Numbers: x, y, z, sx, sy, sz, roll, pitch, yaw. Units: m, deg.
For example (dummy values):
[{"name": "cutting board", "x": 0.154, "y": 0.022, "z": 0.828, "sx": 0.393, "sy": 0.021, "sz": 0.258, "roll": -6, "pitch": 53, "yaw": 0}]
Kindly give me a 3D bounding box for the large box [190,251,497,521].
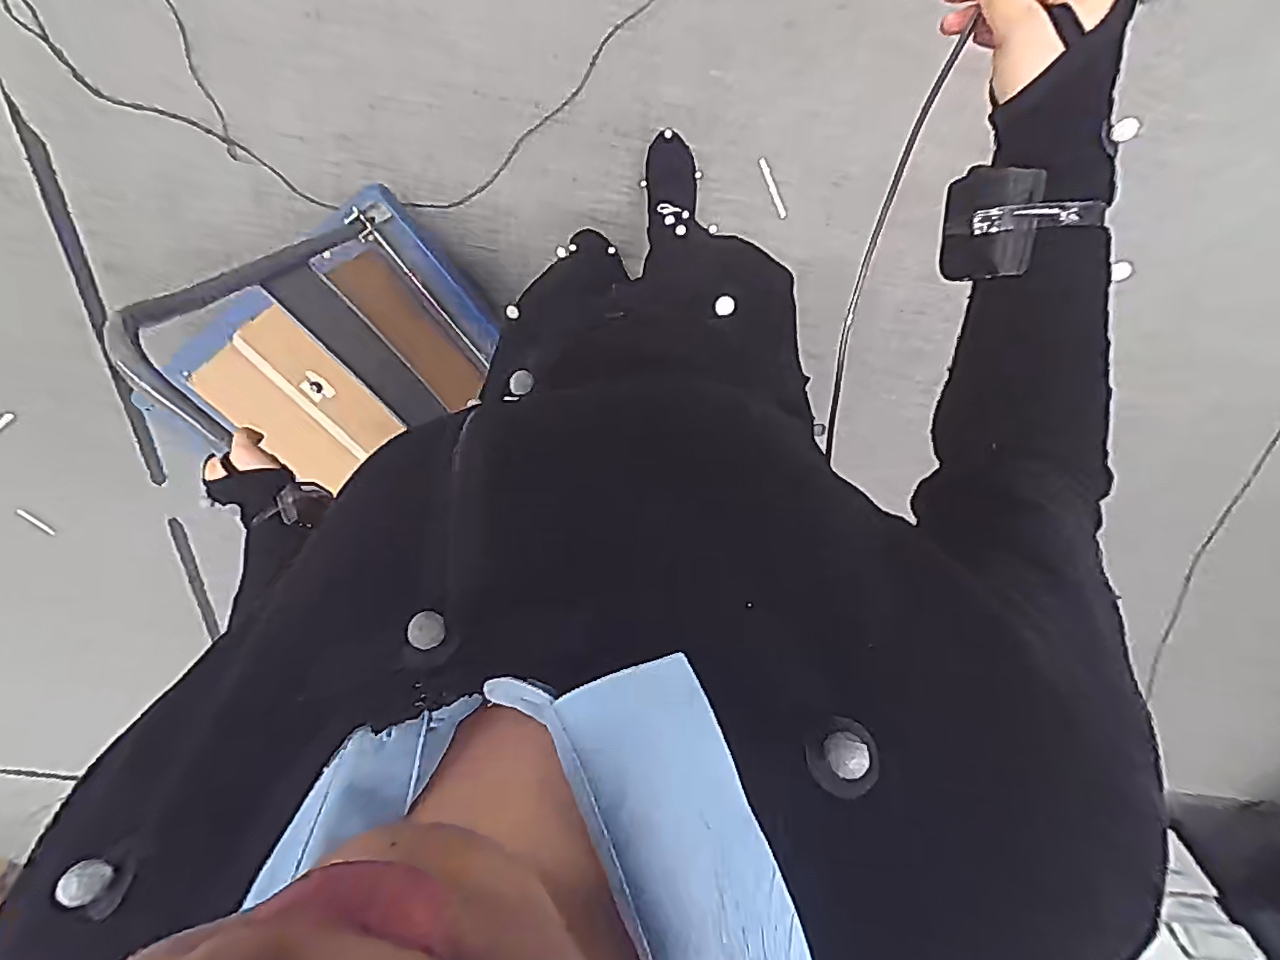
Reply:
[{"name": "large box", "x": -0.573, "y": -0.195, "z": 1.138, "sx": 0.320, "sy": 0.320, "sz": 0.408, "roll": -28, "pitch": 119, "yaw": 17}]
